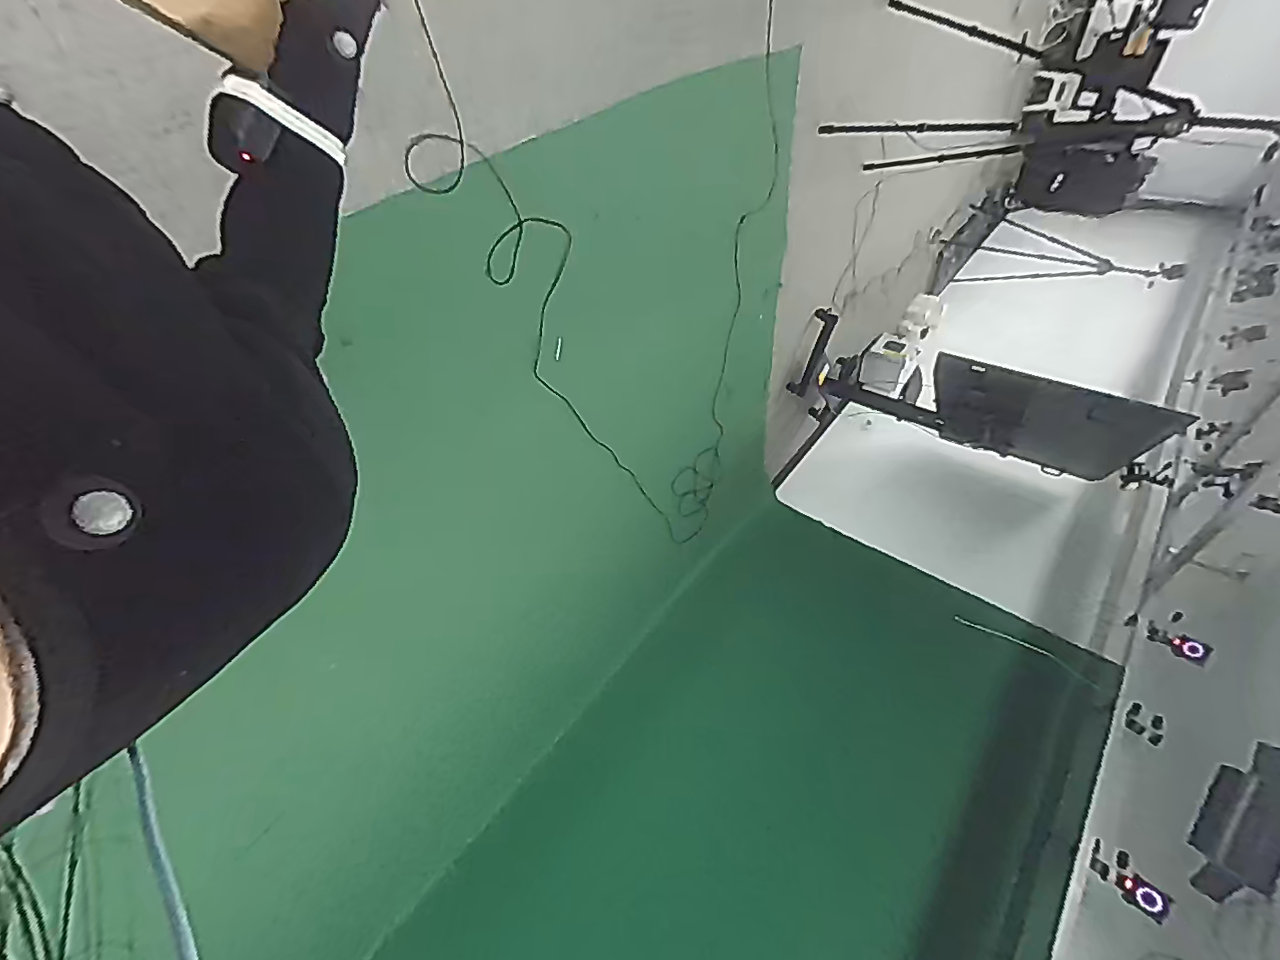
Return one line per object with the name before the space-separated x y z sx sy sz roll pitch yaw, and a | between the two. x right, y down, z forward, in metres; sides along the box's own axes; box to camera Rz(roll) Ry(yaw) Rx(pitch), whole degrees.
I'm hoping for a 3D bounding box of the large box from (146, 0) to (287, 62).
large box | -0.430 -0.552 0.293 0.320 0.320 0.408 -59 156 13
